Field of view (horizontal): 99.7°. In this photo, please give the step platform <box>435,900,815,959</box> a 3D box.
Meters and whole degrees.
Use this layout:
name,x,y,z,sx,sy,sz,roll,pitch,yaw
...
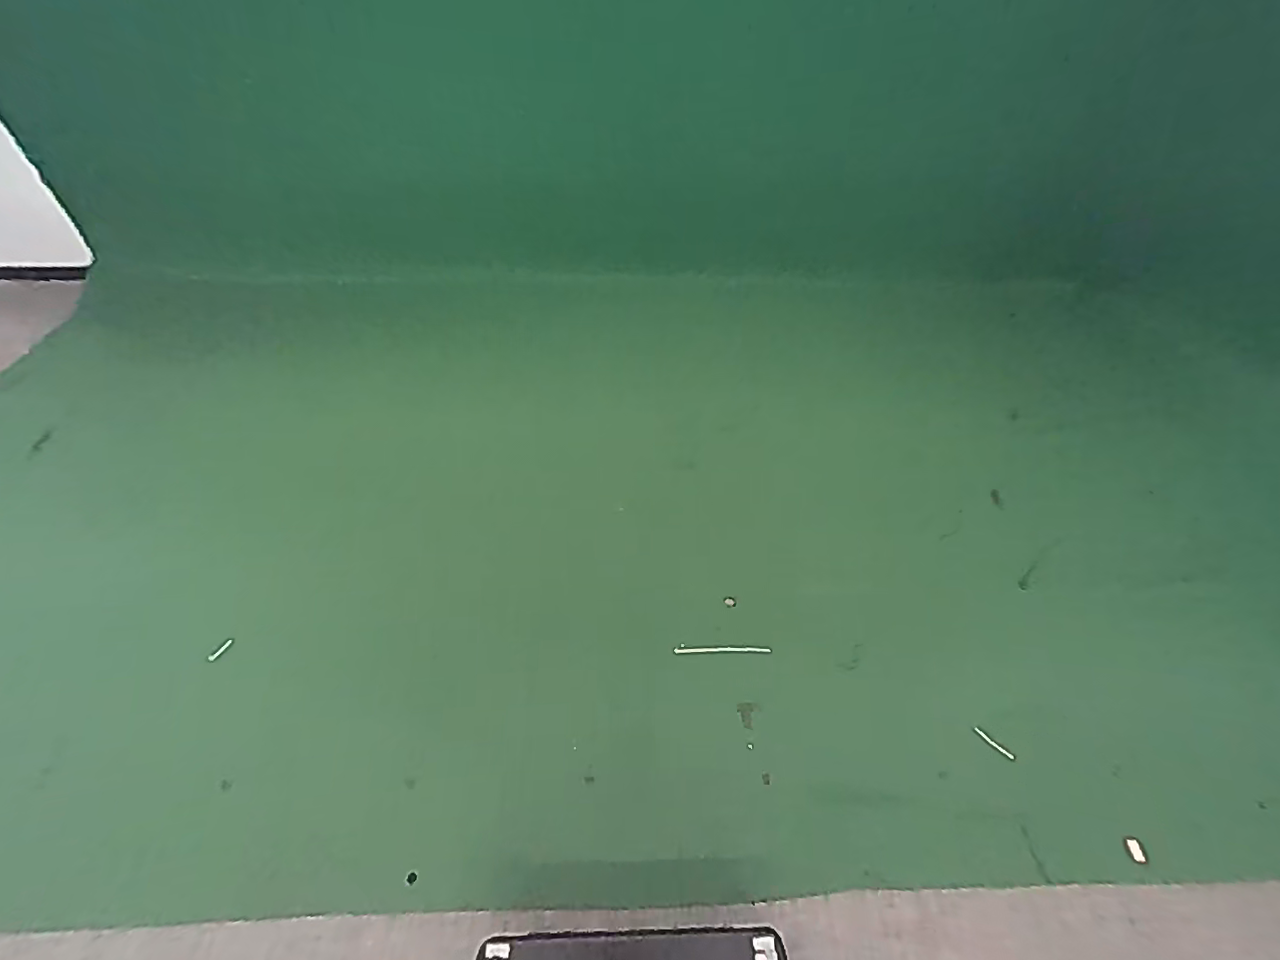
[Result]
name,x,y,z,sx,sy,sz,roll,pitch,yaw
step platform,-0.024,0.961,0.978,0.684,0.204,0.286,-1,48,-2
